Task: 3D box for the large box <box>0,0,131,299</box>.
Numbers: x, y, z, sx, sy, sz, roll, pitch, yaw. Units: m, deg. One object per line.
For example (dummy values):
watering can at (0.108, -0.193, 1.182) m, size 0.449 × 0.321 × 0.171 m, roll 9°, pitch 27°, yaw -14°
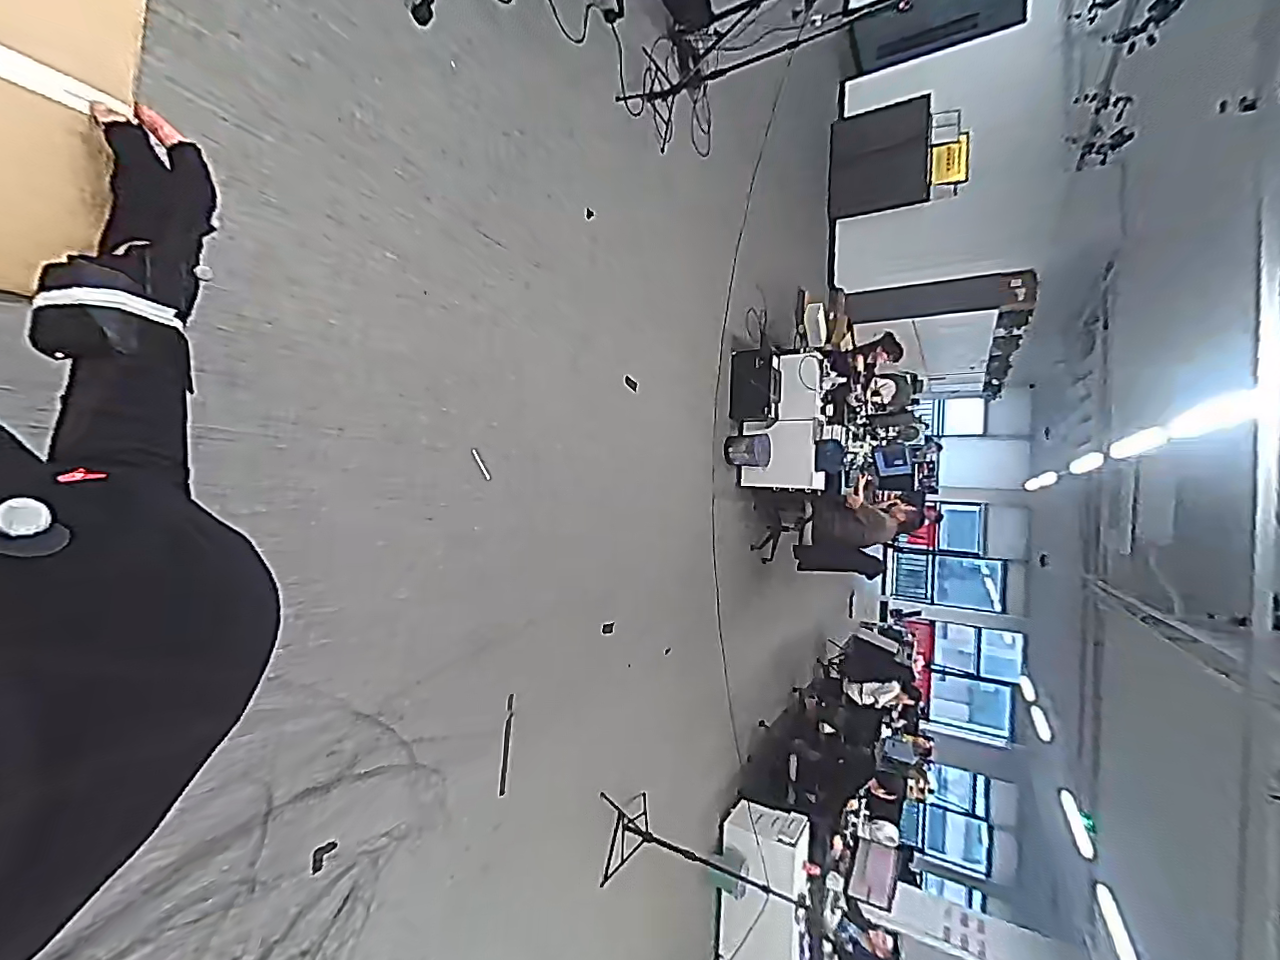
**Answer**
large box at (-0.653, -0.330, 0.340) m, size 0.408 × 0.320 × 0.320 m, roll 2°, pitch 101°, yaw -62°
